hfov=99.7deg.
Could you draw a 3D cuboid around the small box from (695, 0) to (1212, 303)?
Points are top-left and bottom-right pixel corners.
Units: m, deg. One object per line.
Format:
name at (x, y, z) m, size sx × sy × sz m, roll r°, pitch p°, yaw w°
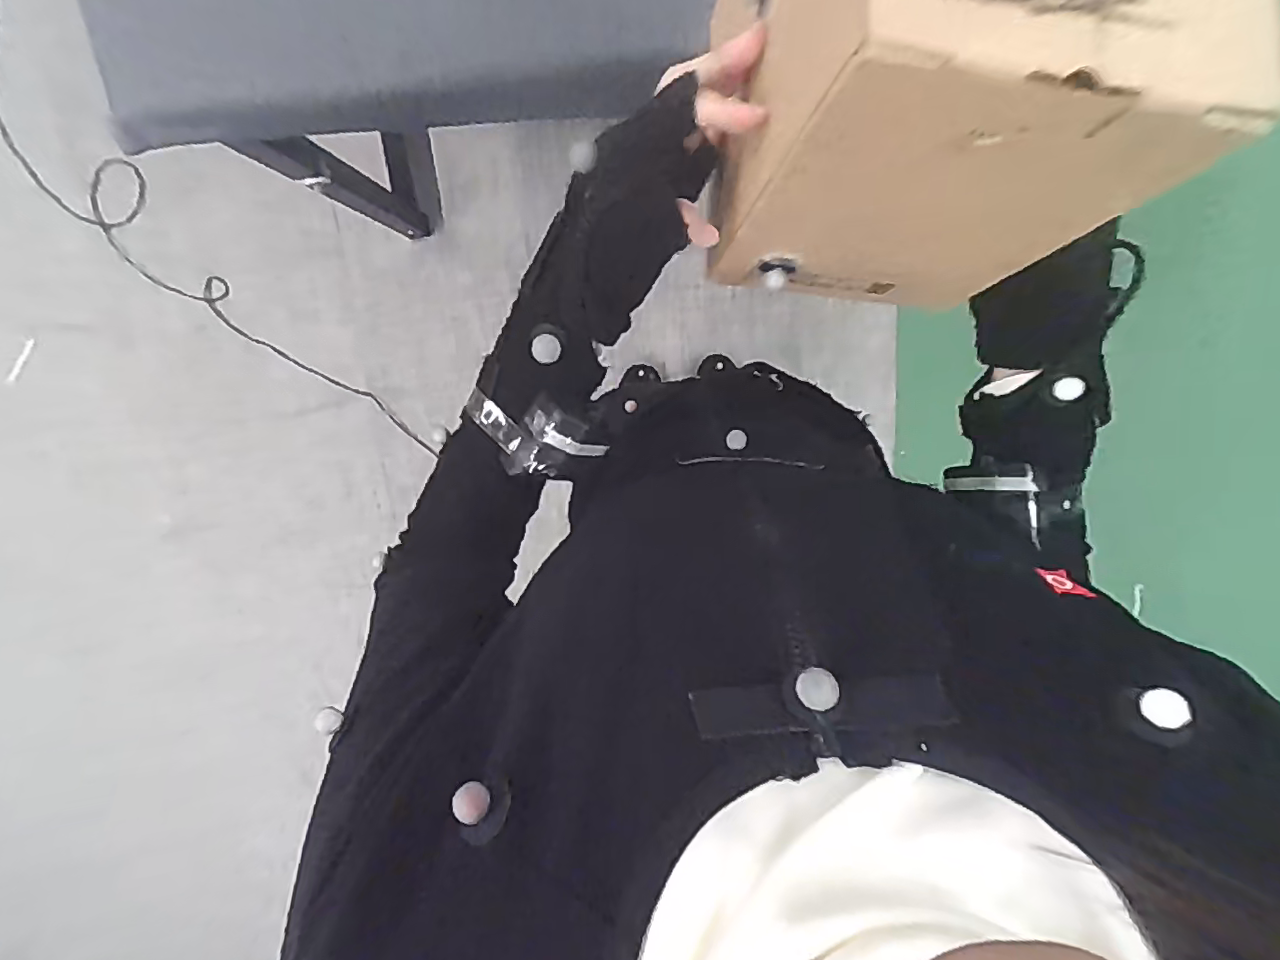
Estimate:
small box at (0.132, -0.212, 0.282) m, size 0.168 × 0.176 × 0.179 m, roll 4°, pitch 85°, yaw -11°
